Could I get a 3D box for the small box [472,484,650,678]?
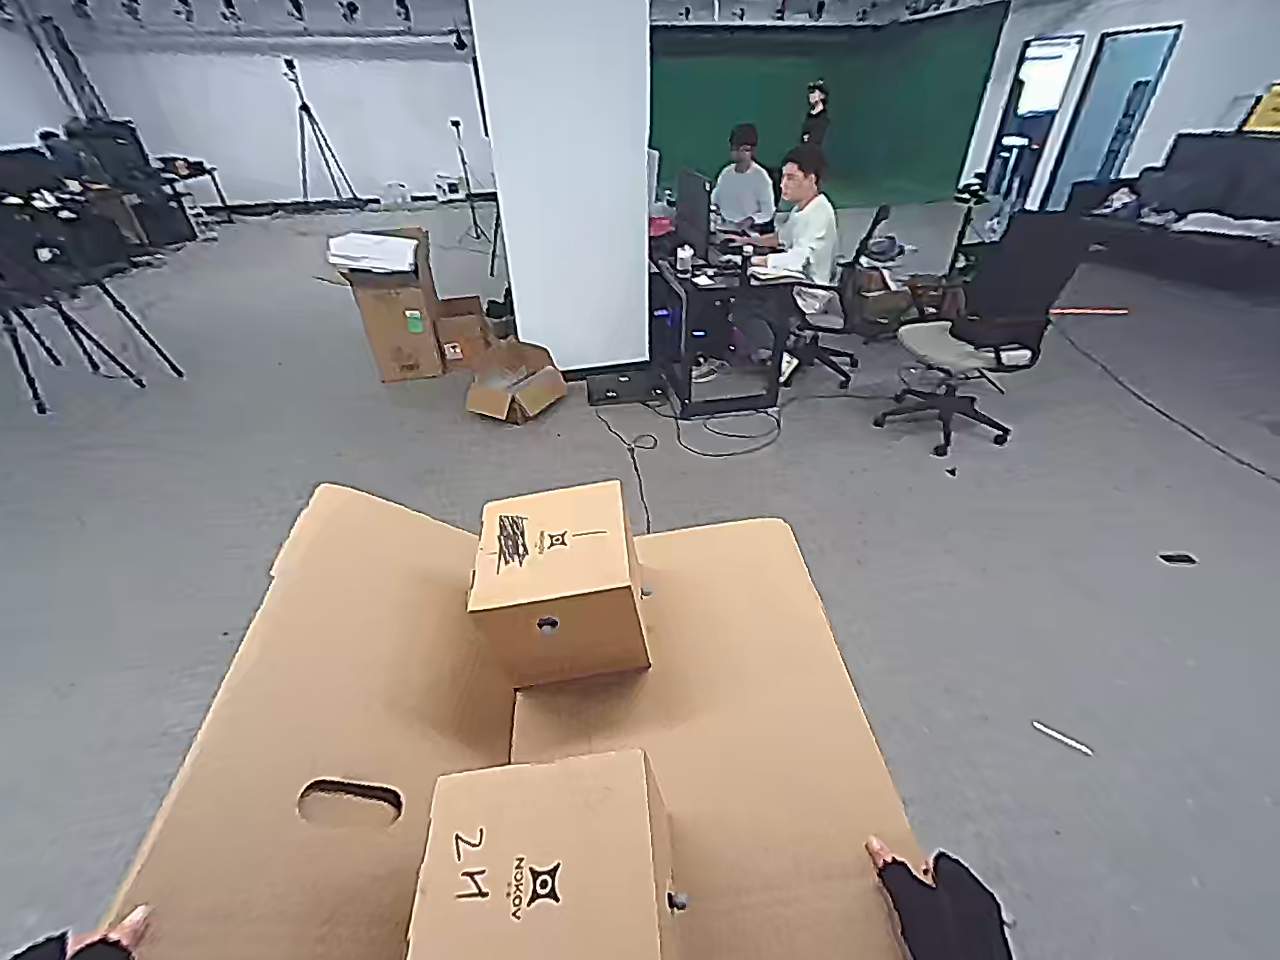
[{"bbox_3d":[-0.090,0.132,0.687,0.179,0.176,0.168,-9,42,1],"label":"small box"}]
